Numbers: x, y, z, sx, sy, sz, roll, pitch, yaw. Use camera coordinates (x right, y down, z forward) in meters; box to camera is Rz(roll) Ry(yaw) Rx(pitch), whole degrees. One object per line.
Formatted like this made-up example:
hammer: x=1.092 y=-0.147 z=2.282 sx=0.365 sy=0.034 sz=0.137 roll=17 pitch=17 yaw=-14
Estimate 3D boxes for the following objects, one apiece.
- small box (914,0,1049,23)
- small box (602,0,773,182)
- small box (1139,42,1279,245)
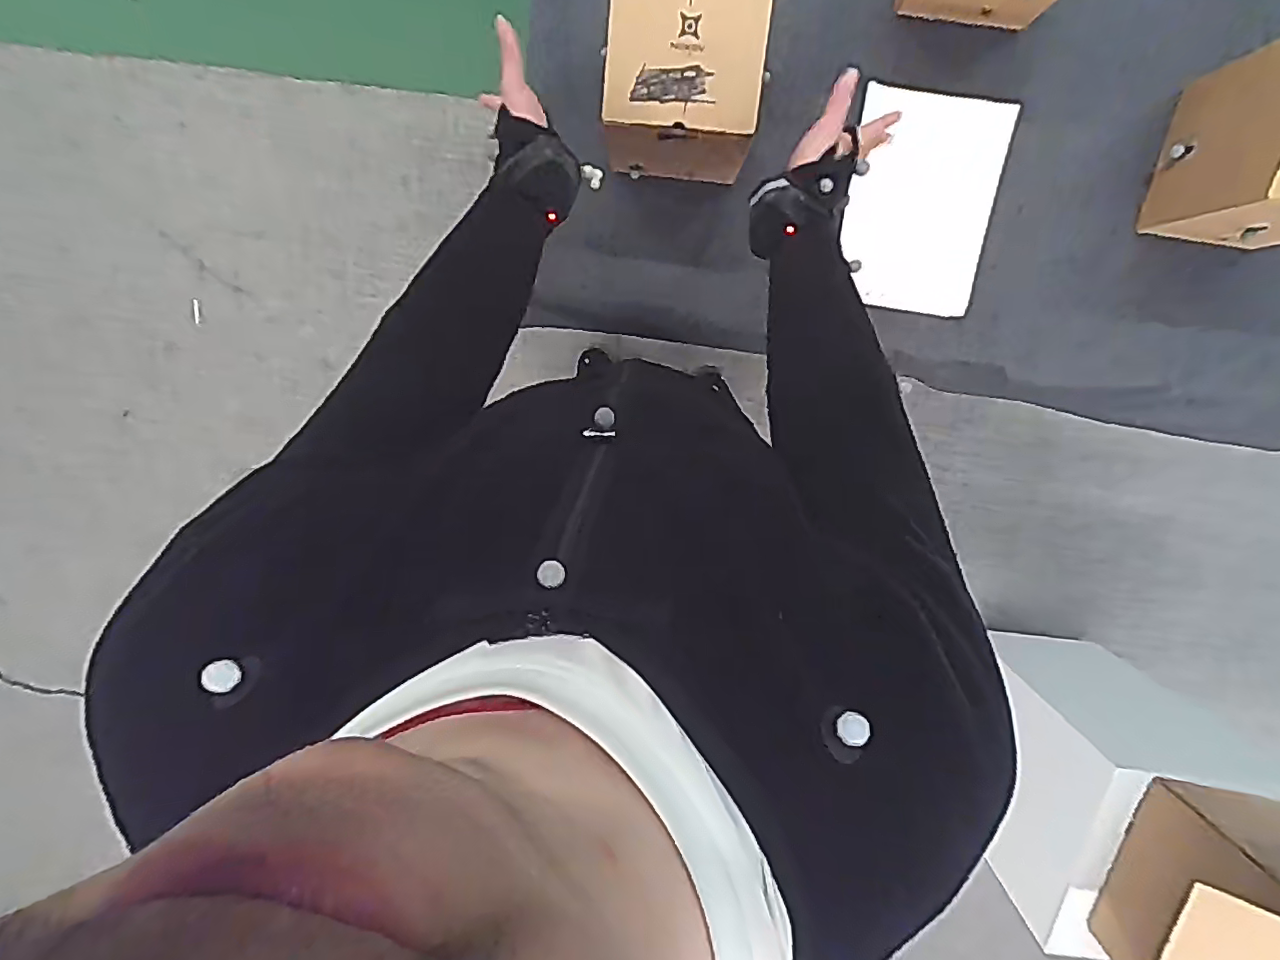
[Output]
small box: x=0.405 y=-0.632 z=0.569 sx=0.168 sy=0.176 sz=0.179 roll=7 pitch=104 yaw=-1
small box: x=0.052 y=-0.471 z=0.636 sx=0.168 sy=0.176 sz=0.179 roll=6 pitch=104 yaw=0
small box: x=0.755 y=-0.387 z=0.636 sx=0.168 sy=0.176 sz=0.179 roll=8 pitch=106 yaw=0
